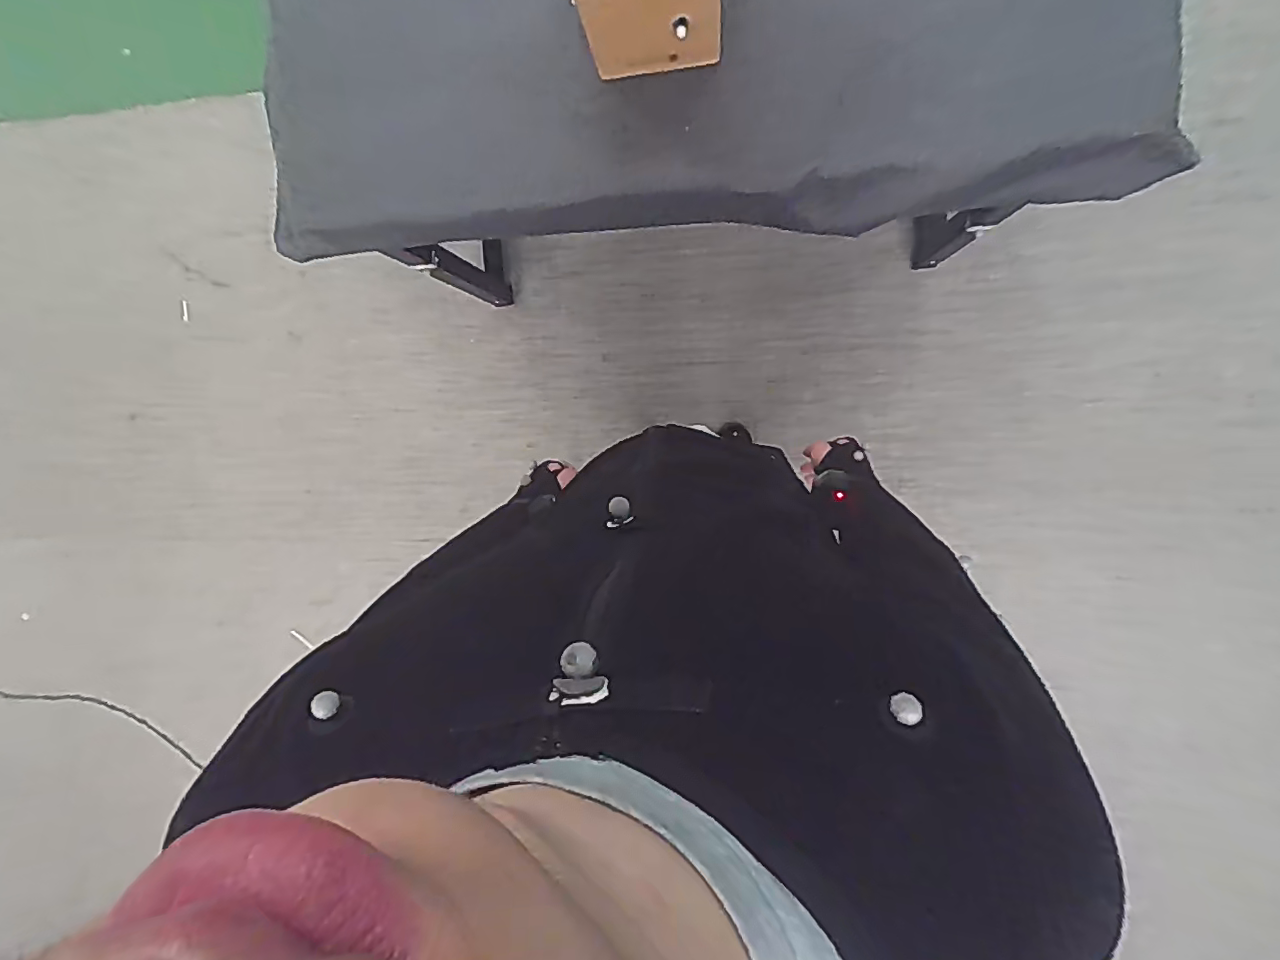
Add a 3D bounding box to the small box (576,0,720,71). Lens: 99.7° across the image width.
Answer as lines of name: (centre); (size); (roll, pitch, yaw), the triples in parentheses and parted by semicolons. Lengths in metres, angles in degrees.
small box: (0.013, -0.637, 0.657); (0.168, 0.176, 0.179); (-3, 96, 7)
